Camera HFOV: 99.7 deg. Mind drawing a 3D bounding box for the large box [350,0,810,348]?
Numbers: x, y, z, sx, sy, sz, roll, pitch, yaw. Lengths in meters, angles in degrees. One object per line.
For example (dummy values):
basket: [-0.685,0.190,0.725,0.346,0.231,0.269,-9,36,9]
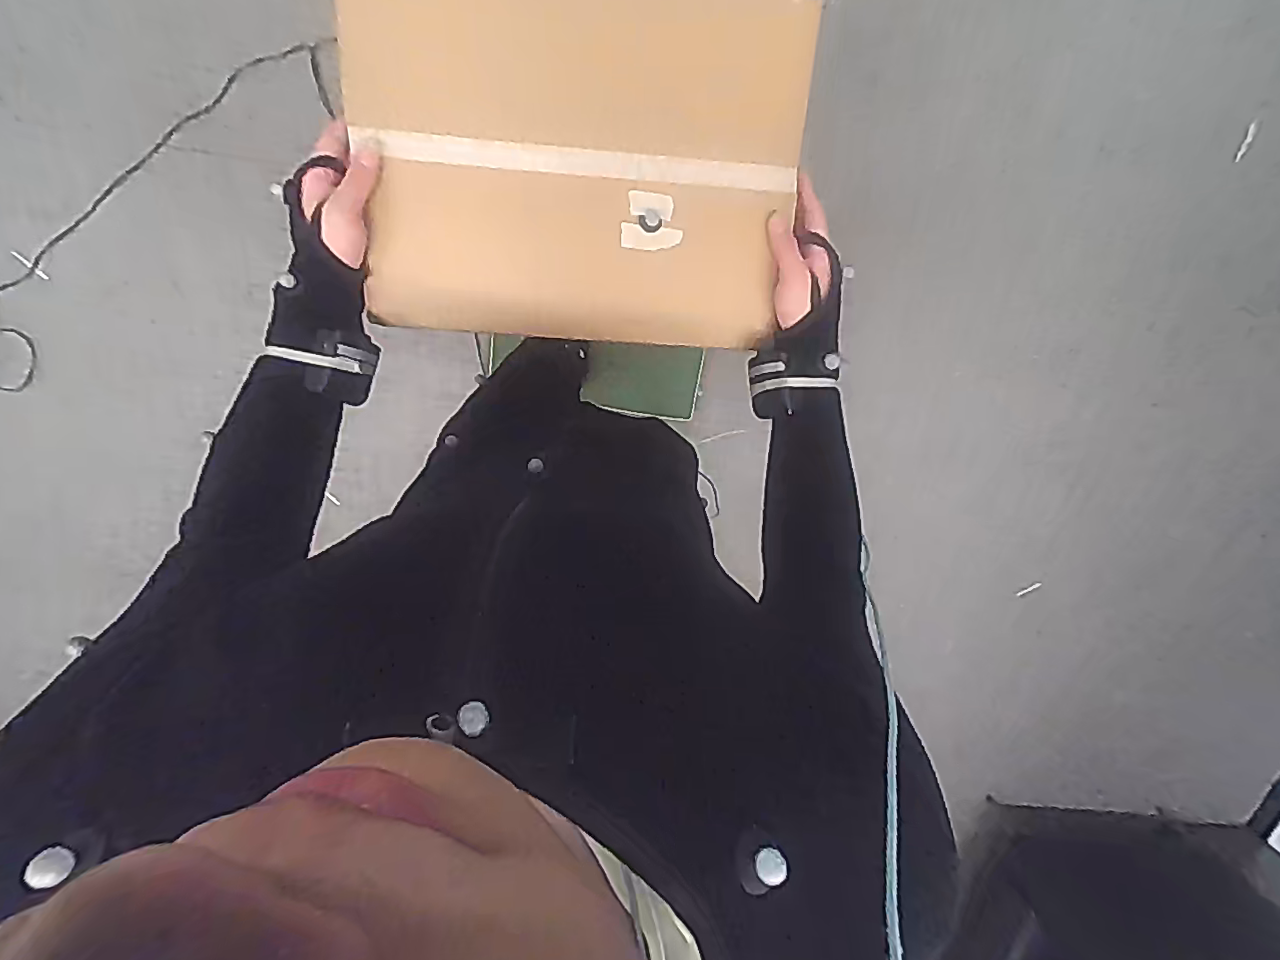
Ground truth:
large box: [-0.067,-0.337,0.648,0.408,0.320,0.320,2,109,-6]
